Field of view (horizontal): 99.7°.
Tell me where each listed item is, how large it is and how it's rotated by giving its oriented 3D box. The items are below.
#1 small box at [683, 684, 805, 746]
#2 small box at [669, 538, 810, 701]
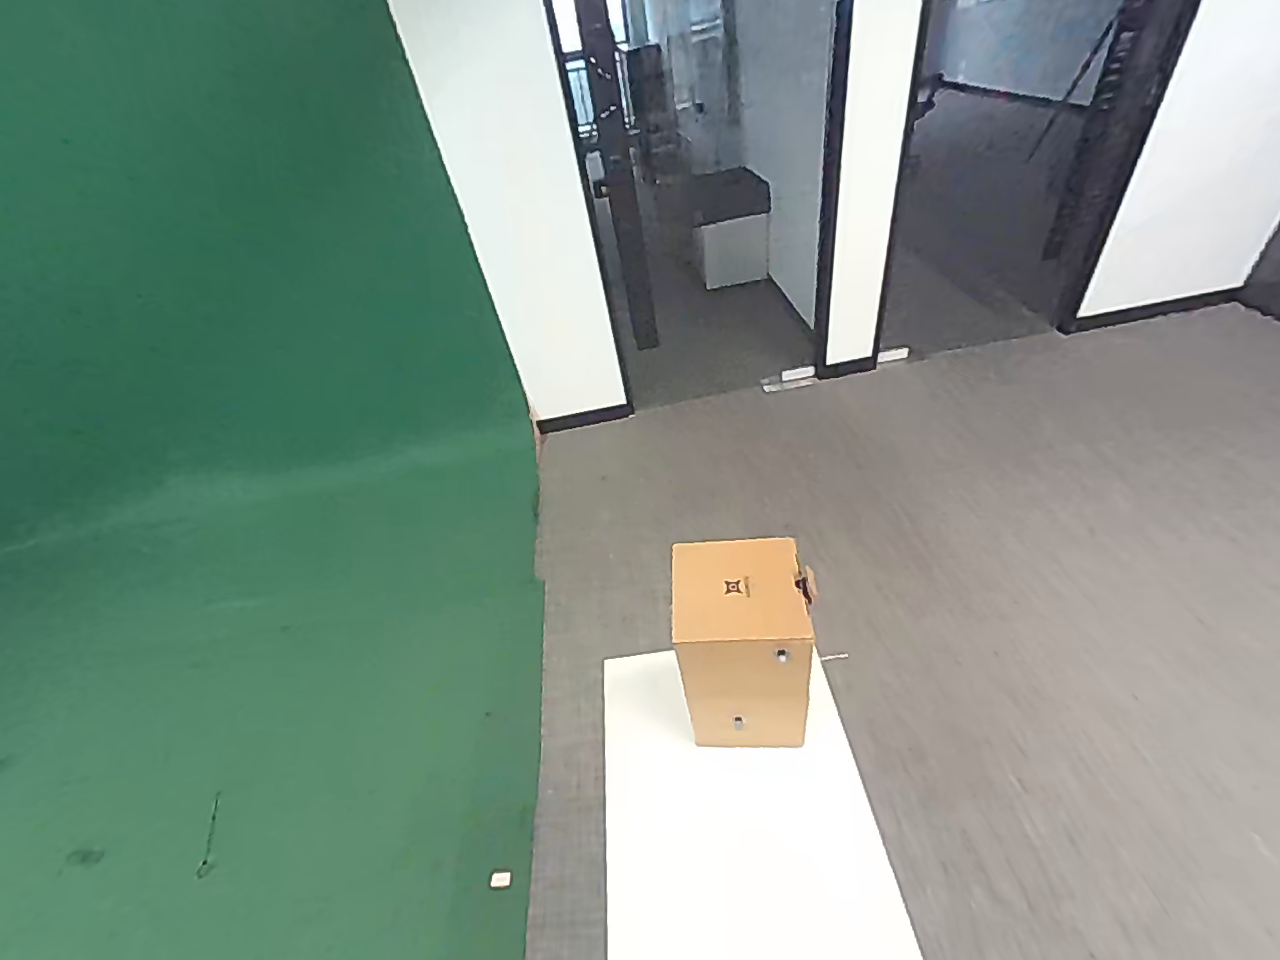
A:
[{"bbox_3d":[0.168,0.320,0.886,0.179,0.176,0.168,-4,42,9],"label":"small box"},{"bbox_3d":[0.139,0.203,0.777,0.179,0.176,0.168,-4,42,8],"label":"small box"}]
